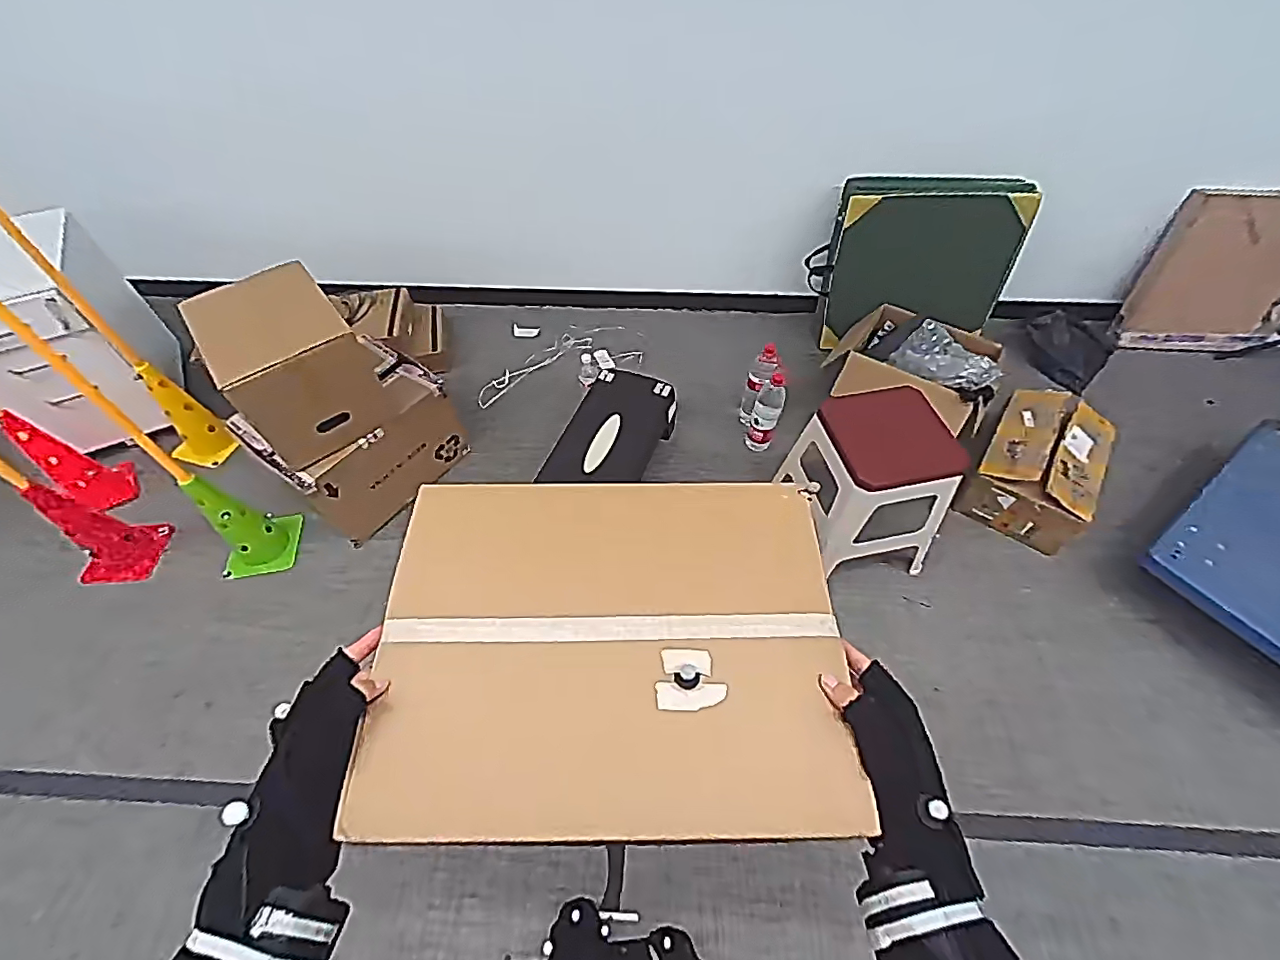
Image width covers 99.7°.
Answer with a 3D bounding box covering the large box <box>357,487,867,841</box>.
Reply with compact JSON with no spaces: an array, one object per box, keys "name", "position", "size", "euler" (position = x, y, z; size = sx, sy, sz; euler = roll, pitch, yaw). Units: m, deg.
[{"name":"large box","position":[-0.025,0.220,0.620],"size":[0.408,0.320,0.320],"euler":[0,56,-1]}]
